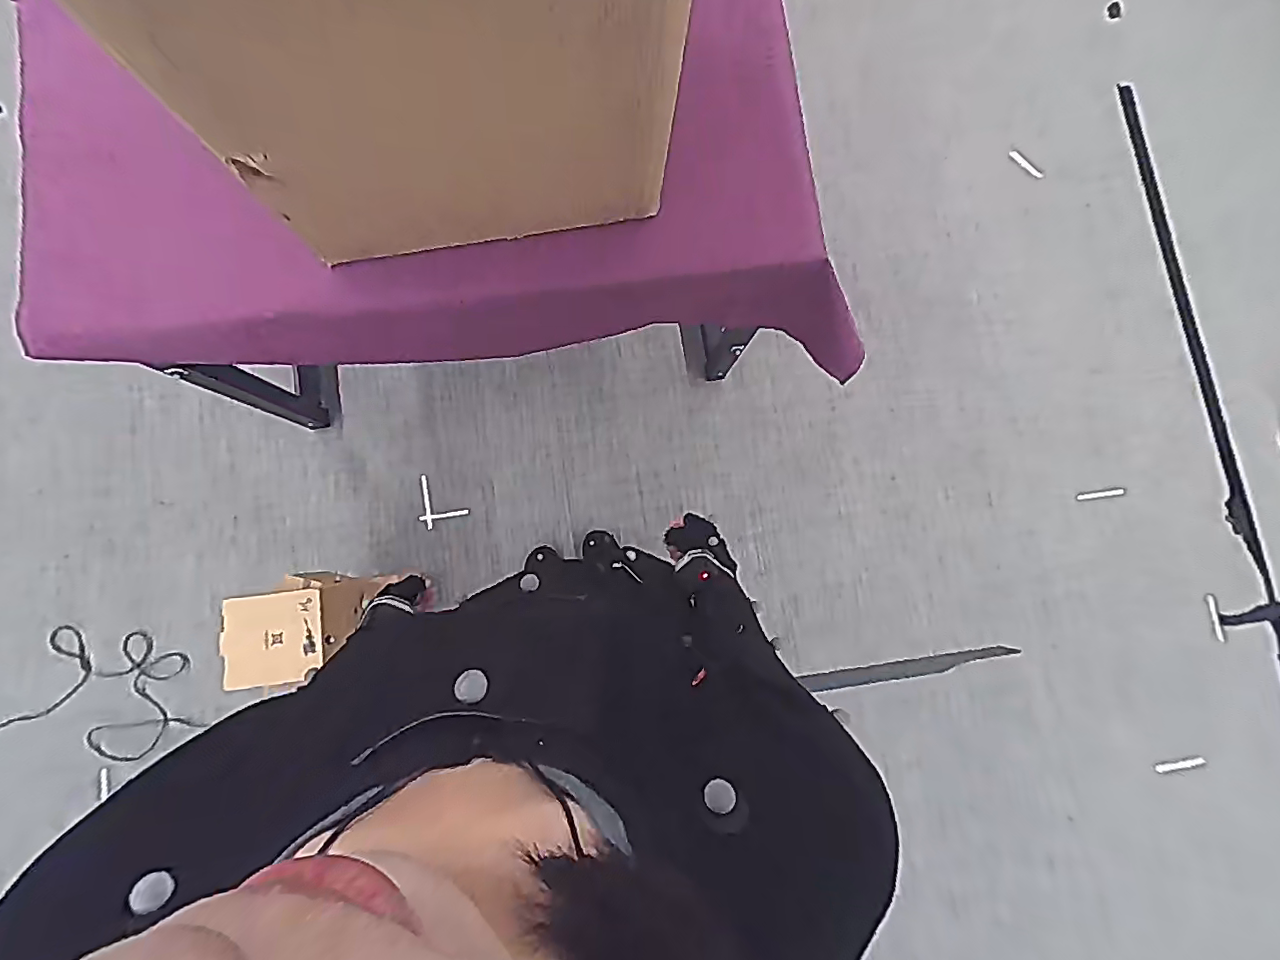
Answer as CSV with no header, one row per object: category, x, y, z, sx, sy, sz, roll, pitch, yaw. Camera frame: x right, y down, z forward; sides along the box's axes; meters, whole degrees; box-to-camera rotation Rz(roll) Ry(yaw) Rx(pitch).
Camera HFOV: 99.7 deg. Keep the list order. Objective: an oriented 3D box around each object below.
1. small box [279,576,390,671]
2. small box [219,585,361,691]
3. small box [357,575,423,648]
small box,-0.695,0.313,1.218,0.179,0.176,0.168,13,81,-1
small box,-0.675,0.300,1.056,0.179,0.176,0.168,-6,83,-5
small box,-0.675,0.336,1.380,0.179,0.176,0.168,-6,84,-5
